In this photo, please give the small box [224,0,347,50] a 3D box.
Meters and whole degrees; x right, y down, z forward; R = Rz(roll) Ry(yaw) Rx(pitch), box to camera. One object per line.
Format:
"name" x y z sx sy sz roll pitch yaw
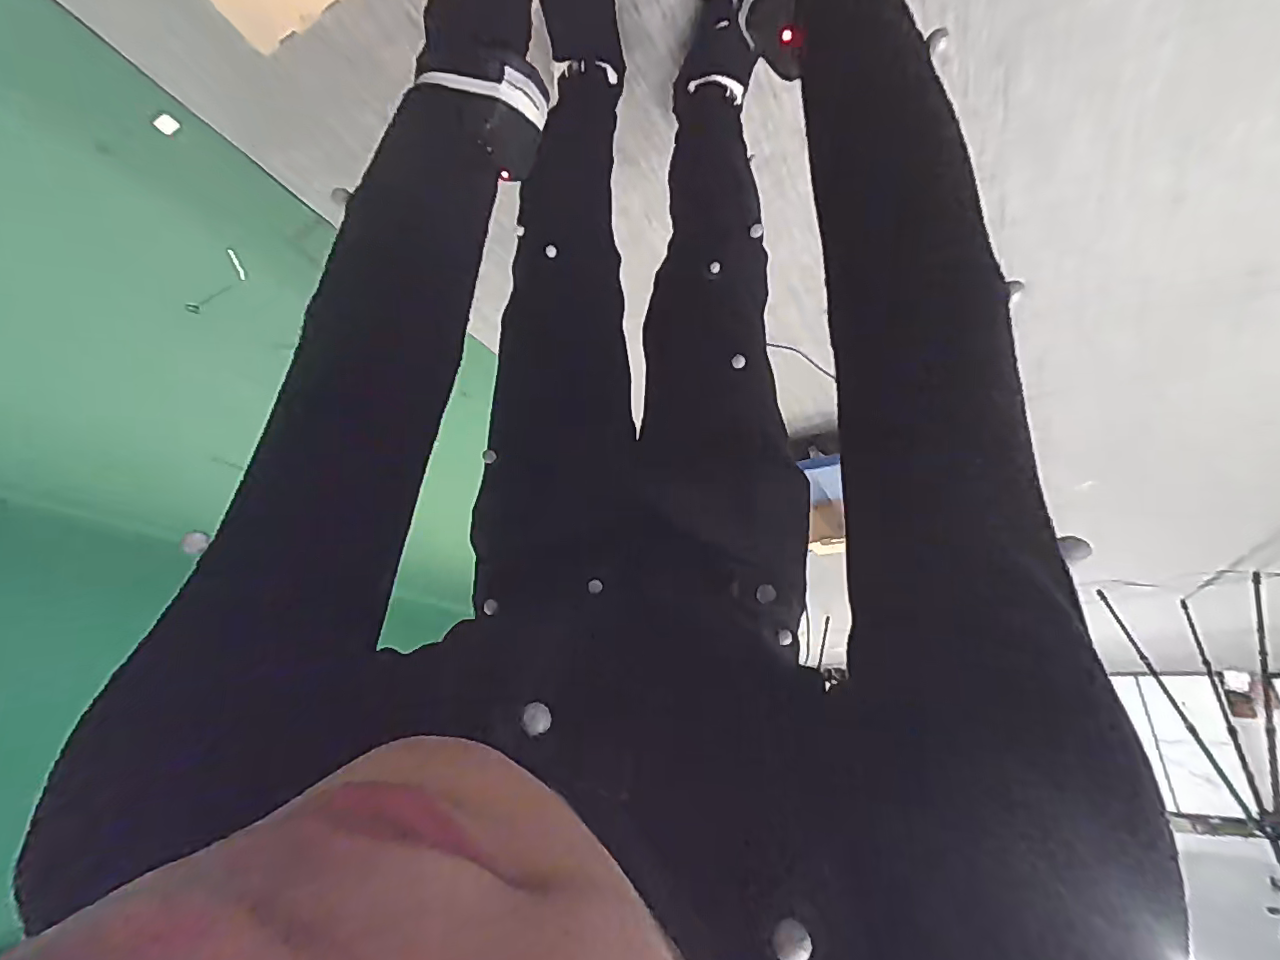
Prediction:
"small box" -0.396 -0.630 0.576 0.168 0.176 0.179 -9 153 23
